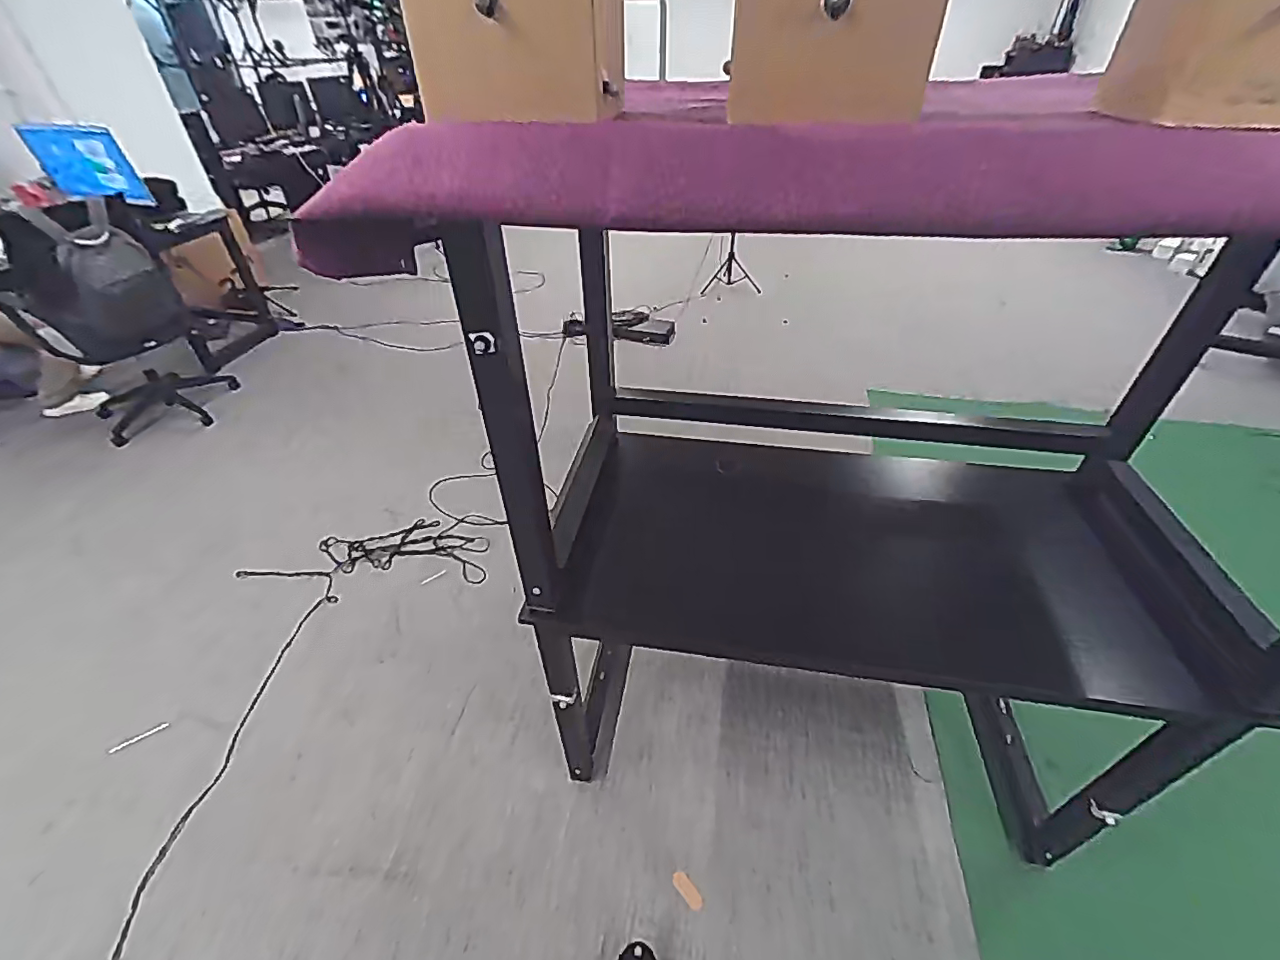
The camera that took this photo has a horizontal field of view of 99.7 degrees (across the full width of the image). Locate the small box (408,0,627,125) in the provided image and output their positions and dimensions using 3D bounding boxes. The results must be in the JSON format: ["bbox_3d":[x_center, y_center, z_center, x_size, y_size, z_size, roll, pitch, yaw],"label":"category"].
[{"bbox_3d":[-0.108,-0.457,0.526,0.179,0.176,0.168,4,39,6],"label":"small box"}]

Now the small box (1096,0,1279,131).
[{"bbox_3d":[0.541,-0.397,0.453,0.168,0.176,0.179,10,39,12],"label":"small box"}]
